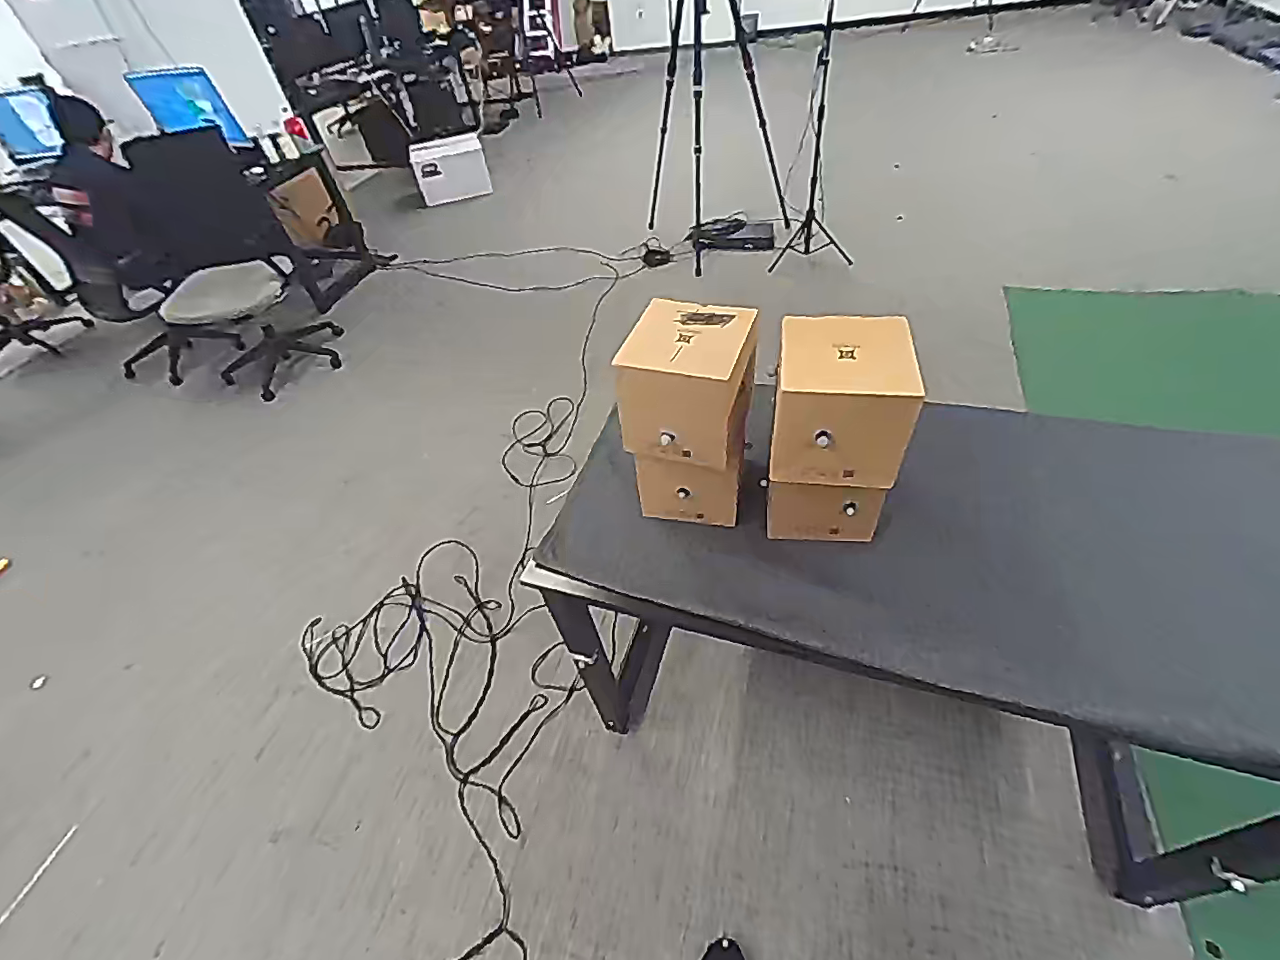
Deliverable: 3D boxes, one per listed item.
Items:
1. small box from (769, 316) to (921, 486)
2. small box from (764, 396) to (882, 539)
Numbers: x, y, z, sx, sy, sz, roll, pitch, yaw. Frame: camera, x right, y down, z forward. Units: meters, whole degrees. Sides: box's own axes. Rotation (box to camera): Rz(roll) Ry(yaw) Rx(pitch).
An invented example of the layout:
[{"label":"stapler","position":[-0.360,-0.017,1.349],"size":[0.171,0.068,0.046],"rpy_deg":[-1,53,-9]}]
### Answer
[{"label":"small box","position":[0.272,-0.109,0.754],"size":[0.168,0.176,0.179],"rpy_deg":[4,47,11]},{"label":"small box","position":[0.295,-0.020,0.890],"size":[0.168,0.176,0.179],"rpy_deg":[2,47,9]}]
